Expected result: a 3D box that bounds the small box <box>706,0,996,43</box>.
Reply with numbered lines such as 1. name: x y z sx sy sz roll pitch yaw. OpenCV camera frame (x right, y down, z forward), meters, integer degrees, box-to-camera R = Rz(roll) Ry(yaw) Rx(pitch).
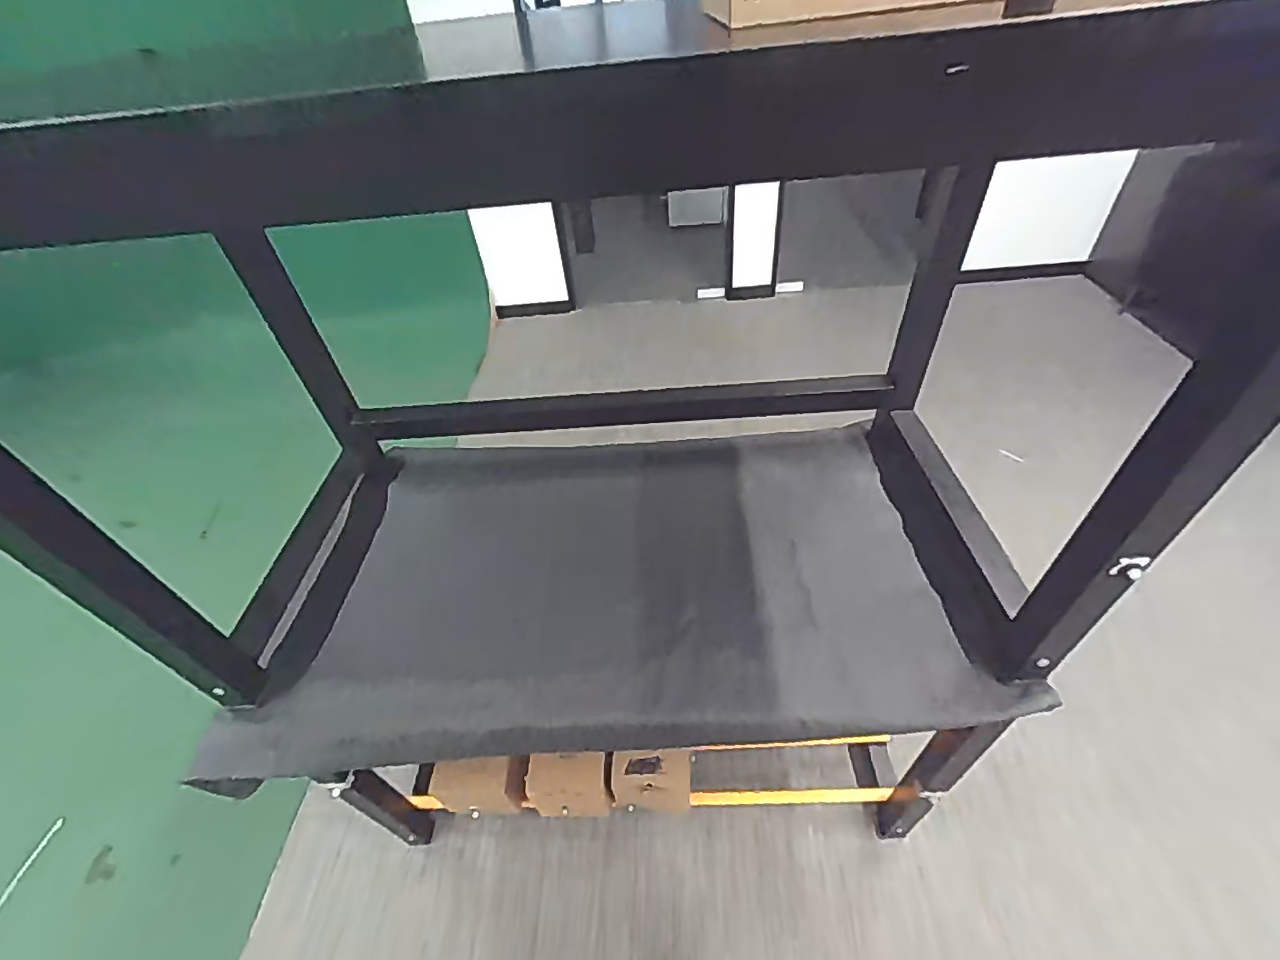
1. small box: 0.129 -0.391 0.336 0.168 0.176 0.179 -4 44 4
